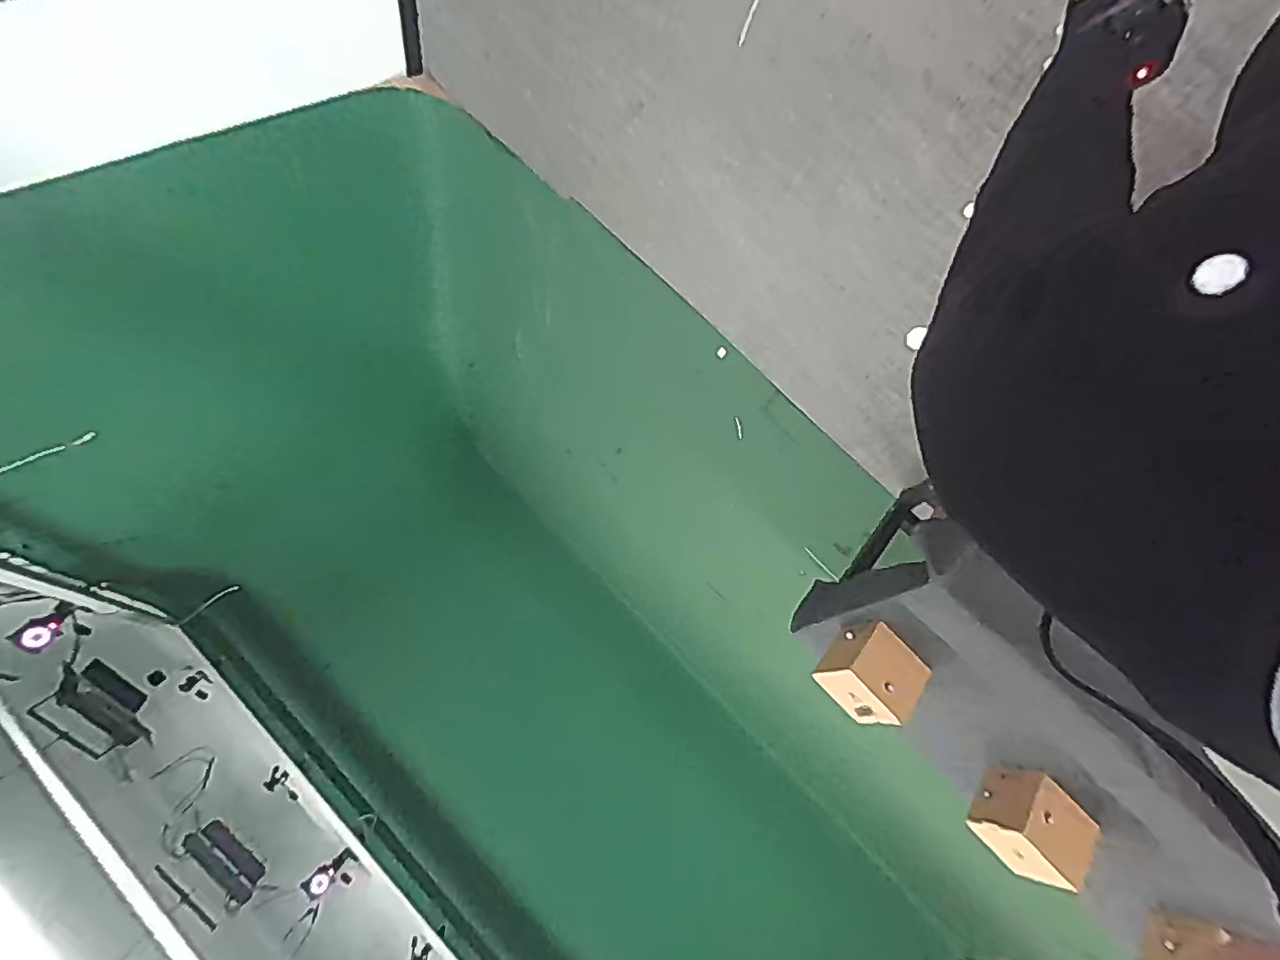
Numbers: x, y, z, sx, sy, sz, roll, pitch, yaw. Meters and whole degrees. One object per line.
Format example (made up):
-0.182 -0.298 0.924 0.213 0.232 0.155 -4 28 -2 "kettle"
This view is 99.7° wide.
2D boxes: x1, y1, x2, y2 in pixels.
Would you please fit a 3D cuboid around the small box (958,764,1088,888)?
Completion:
0.927 0.824 1.310 0.179 0.176 0.168 44 153 4 "small box"

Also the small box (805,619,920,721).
0.566 0.481 1.371 0.179 0.176 0.168 46 152 4 "small box"
